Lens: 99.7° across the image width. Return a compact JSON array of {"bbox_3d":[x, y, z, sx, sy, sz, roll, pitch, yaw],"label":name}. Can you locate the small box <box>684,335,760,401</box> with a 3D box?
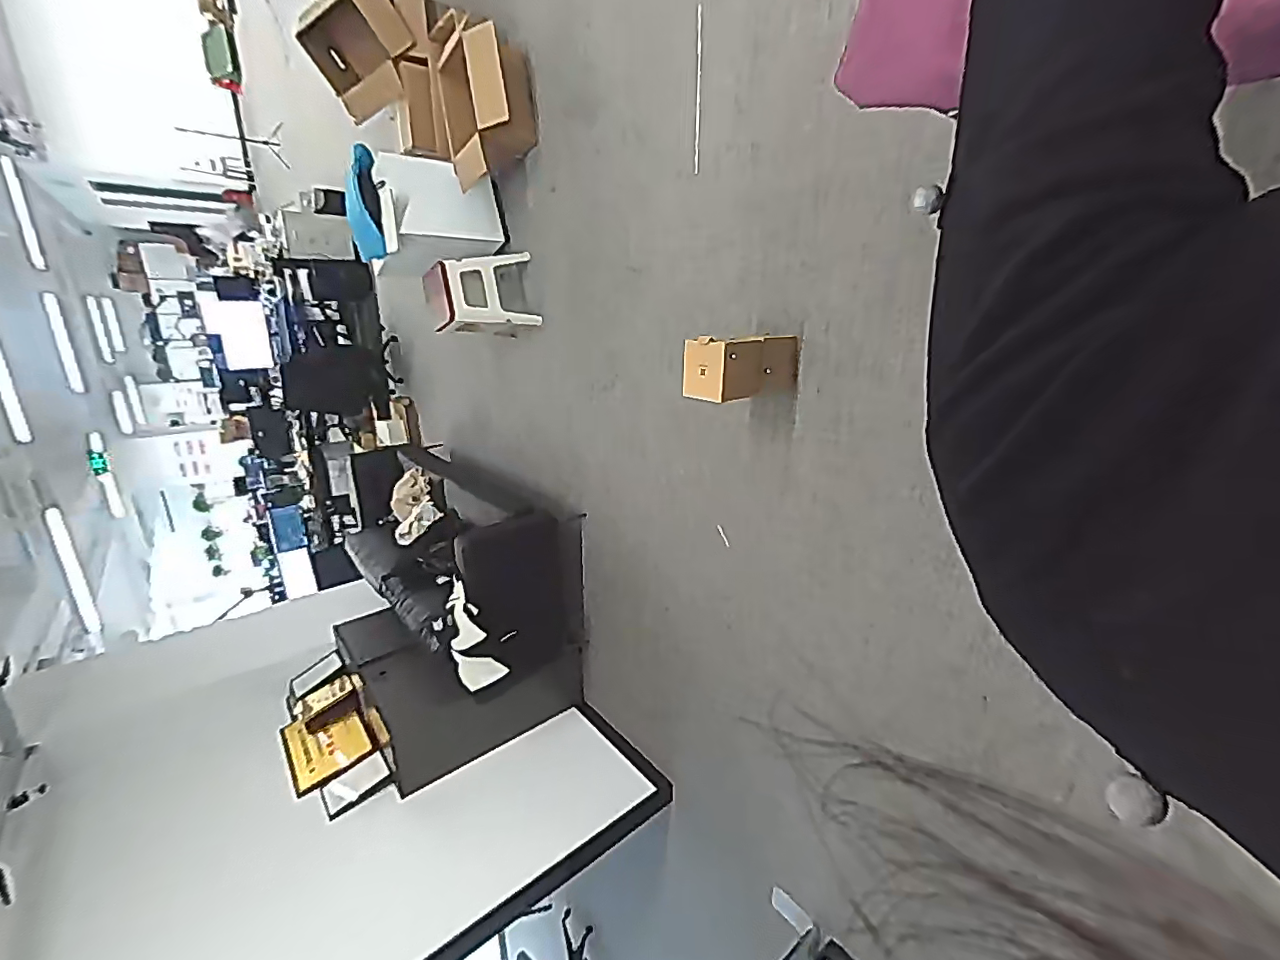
[{"bbox_3d":[0.251,-0.347,1.655,0.168,0.176,0.179,20,116,47],"label":"small box"}]

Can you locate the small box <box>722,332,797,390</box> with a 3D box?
[{"bbox_3d":[0.379,-0.389,1.748,0.179,0.176,0.168,21,117,48],"label":"small box"}]
